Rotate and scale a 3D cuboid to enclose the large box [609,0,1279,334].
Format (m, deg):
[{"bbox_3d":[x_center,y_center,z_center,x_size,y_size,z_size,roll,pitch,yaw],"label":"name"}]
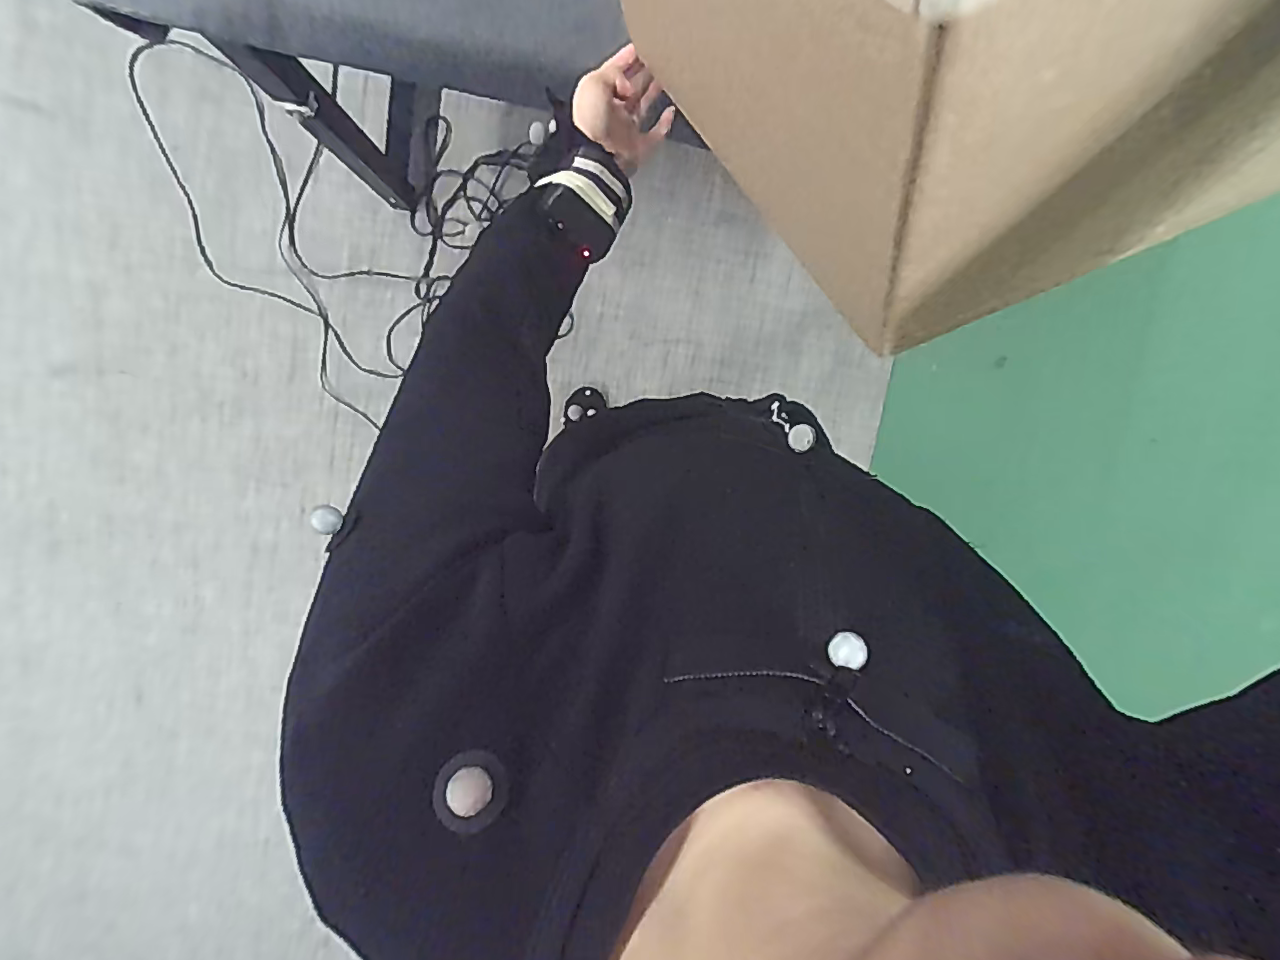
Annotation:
[{"bbox_3d":[0.153,-0.352,0.236,0.320,0.320,0.408,-25,60,2],"label":"large box"}]
